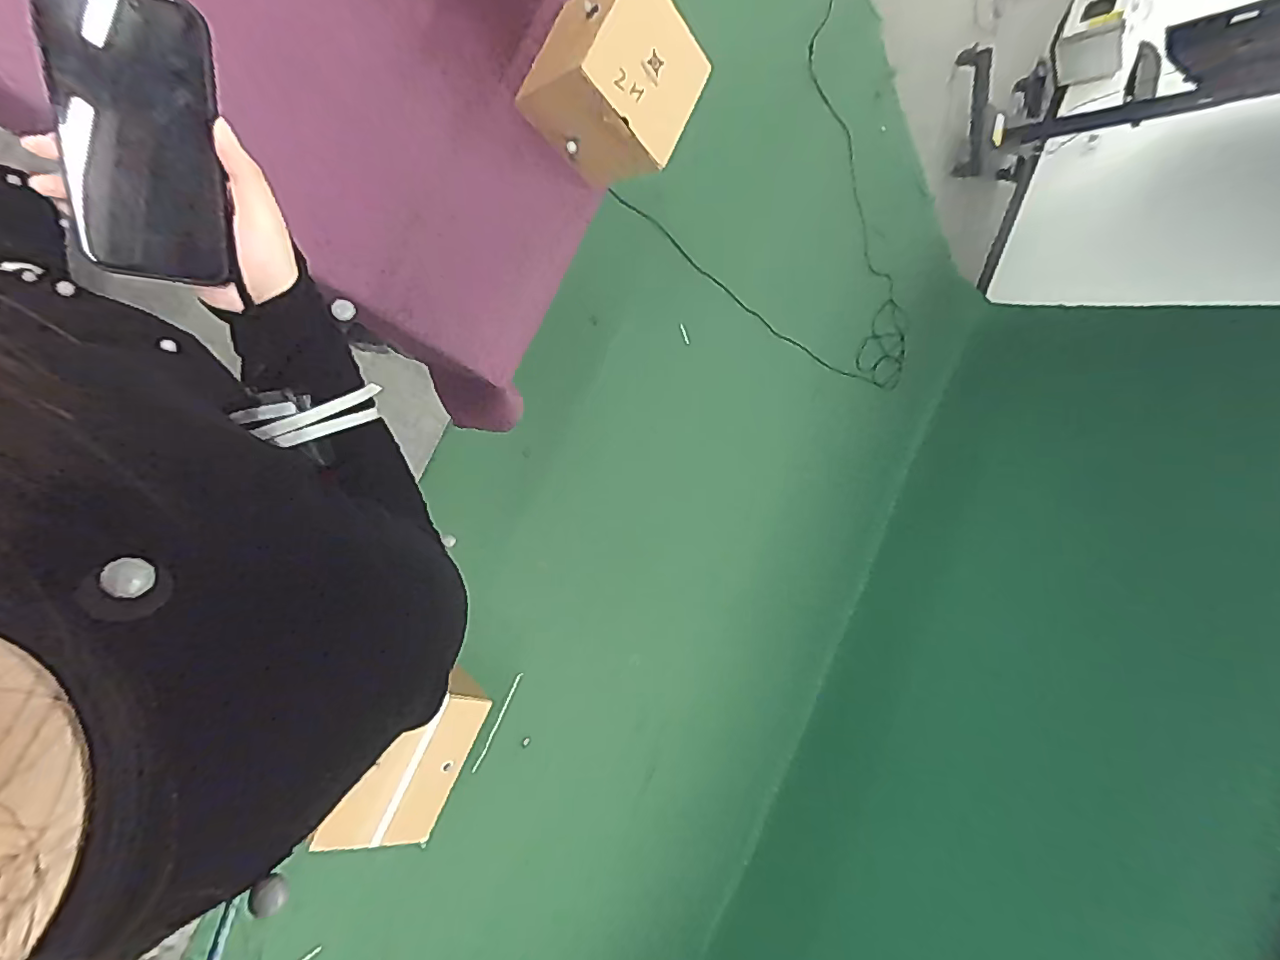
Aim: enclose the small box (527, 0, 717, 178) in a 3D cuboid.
[{"bbox_3d":[-0.030,-0.562,0.756,0.168,0.176,0.179,30,84,-43],"label":"small box"}]
